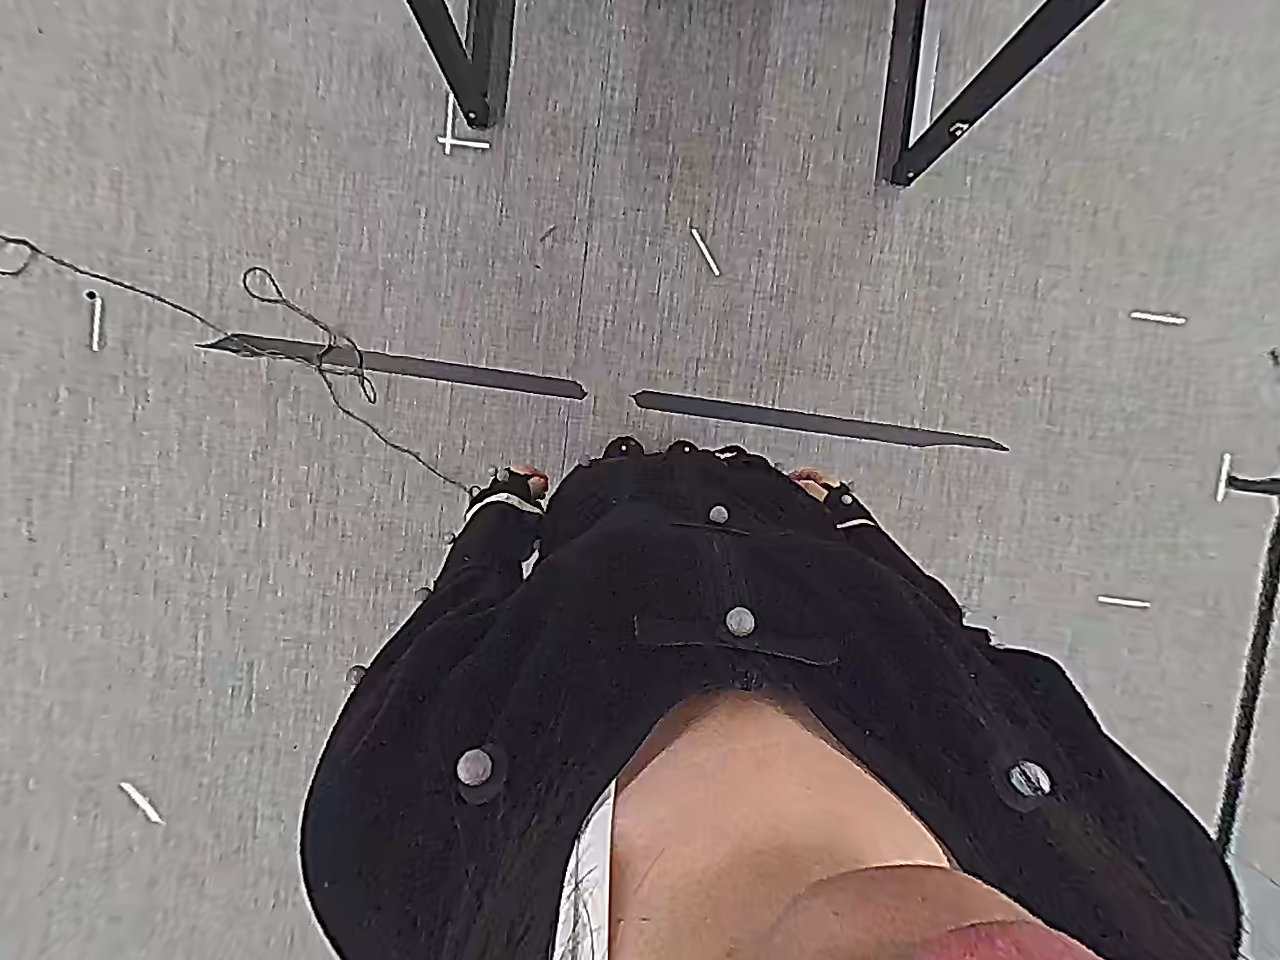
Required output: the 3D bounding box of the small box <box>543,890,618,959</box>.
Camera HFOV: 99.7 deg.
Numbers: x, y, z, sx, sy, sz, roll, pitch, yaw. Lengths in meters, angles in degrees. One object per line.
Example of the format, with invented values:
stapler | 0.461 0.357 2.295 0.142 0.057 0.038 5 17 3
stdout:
small box | -0.166 1.277 1.484 0.179 0.176 0.168 14 93 -4
